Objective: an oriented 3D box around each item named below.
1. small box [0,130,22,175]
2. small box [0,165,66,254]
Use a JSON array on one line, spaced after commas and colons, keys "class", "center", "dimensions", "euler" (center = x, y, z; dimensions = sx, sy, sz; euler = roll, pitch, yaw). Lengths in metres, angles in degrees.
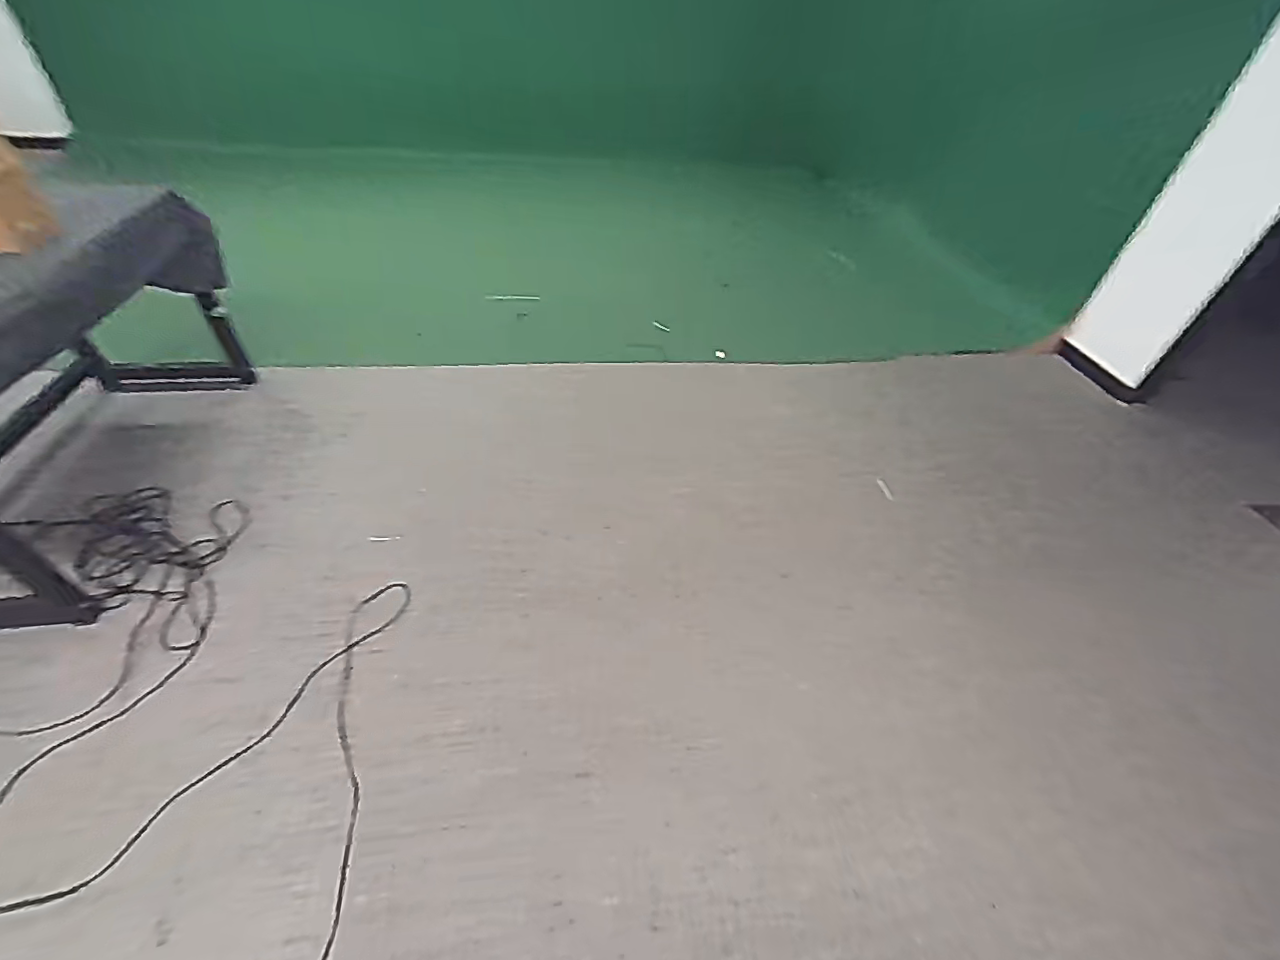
[{"class": "small box", "center": [-1.642, -0.804, 1.263], "dimensions": [0.179, 0.176, 0.168], "euler": [-3, 46, -6]}, {"class": "small box", "center": [-1.660, -0.692, 1.379], "dimensions": [0.179, 0.176, 0.168], "euler": [-1, 46, -7]}]
